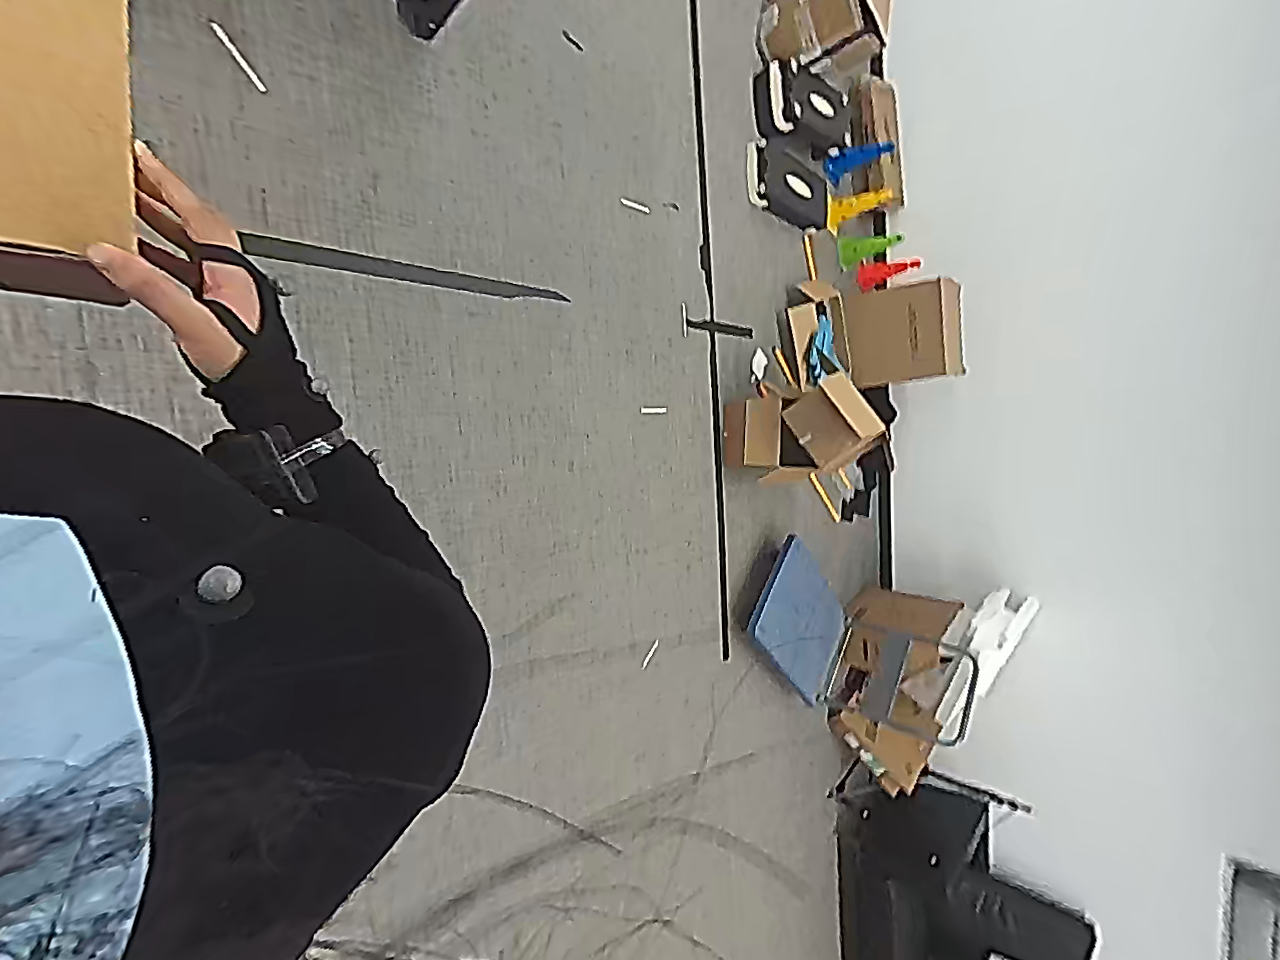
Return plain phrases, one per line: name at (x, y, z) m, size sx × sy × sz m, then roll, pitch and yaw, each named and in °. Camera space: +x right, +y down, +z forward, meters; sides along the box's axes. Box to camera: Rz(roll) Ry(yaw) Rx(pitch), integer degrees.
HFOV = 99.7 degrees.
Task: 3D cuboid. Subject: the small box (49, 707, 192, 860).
small box at (-0.988, 0.558, 1.032) m, size 0.168 × 0.176 × 0.179 m, roll -15°, pitch 102°, yaw -44°
